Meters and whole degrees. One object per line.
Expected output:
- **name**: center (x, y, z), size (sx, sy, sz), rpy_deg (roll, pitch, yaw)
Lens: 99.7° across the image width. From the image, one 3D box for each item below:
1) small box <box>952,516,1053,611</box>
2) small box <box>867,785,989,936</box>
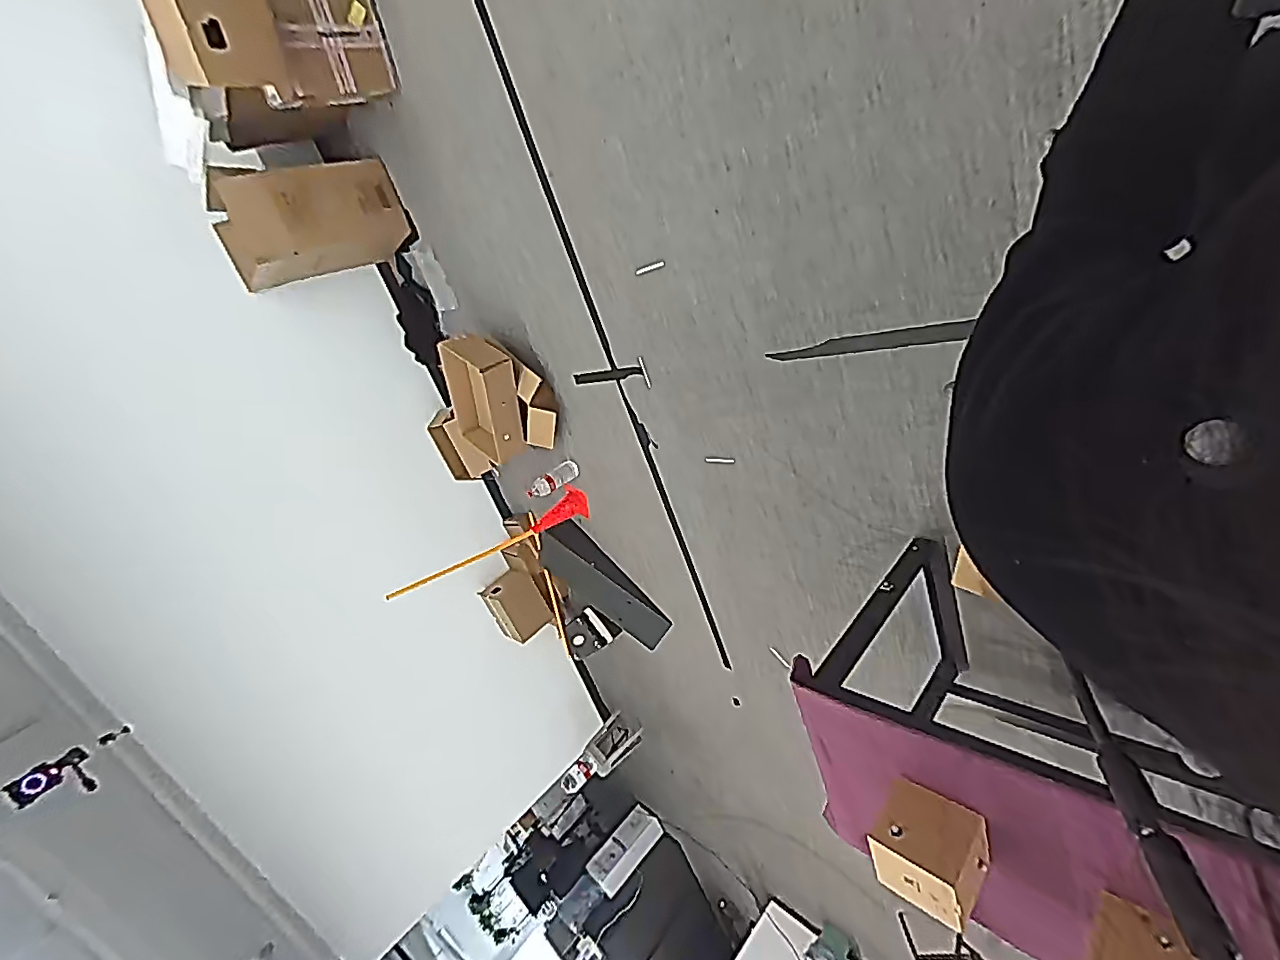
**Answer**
- **small box**: center (1.006, 0.223, 1.503), size (0.179, 0.176, 0.168), rpy_deg (22, 134, 38)
- **small box**: center (0.616, 0.795, 1.156), size (0.179, 0.176, 0.168), rpy_deg (7, 125, 48)
